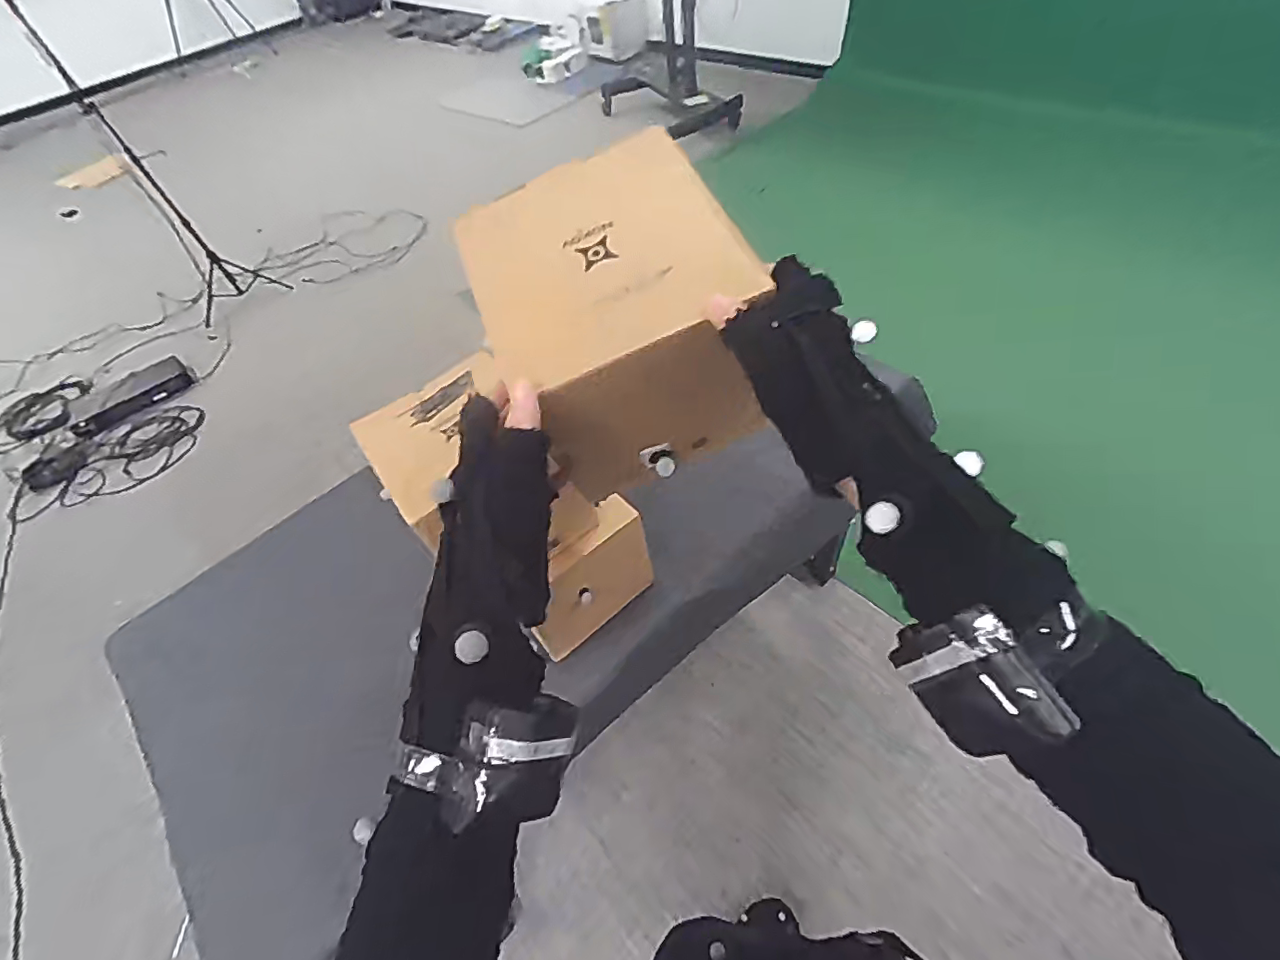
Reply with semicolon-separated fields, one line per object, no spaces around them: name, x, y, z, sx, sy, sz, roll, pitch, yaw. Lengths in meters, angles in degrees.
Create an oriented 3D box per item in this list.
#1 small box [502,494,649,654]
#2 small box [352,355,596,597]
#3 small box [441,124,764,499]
small box;-0.106;0.098;0.720;0.179;0.176;0.168;-38;55;-18
small box;-0.175;-0.004;0.603;0.168;0.176;0.179;-38;52;-18
small box;-0.020;-0.113;0.411;0.168;0.176;0.179;-25;65;2
